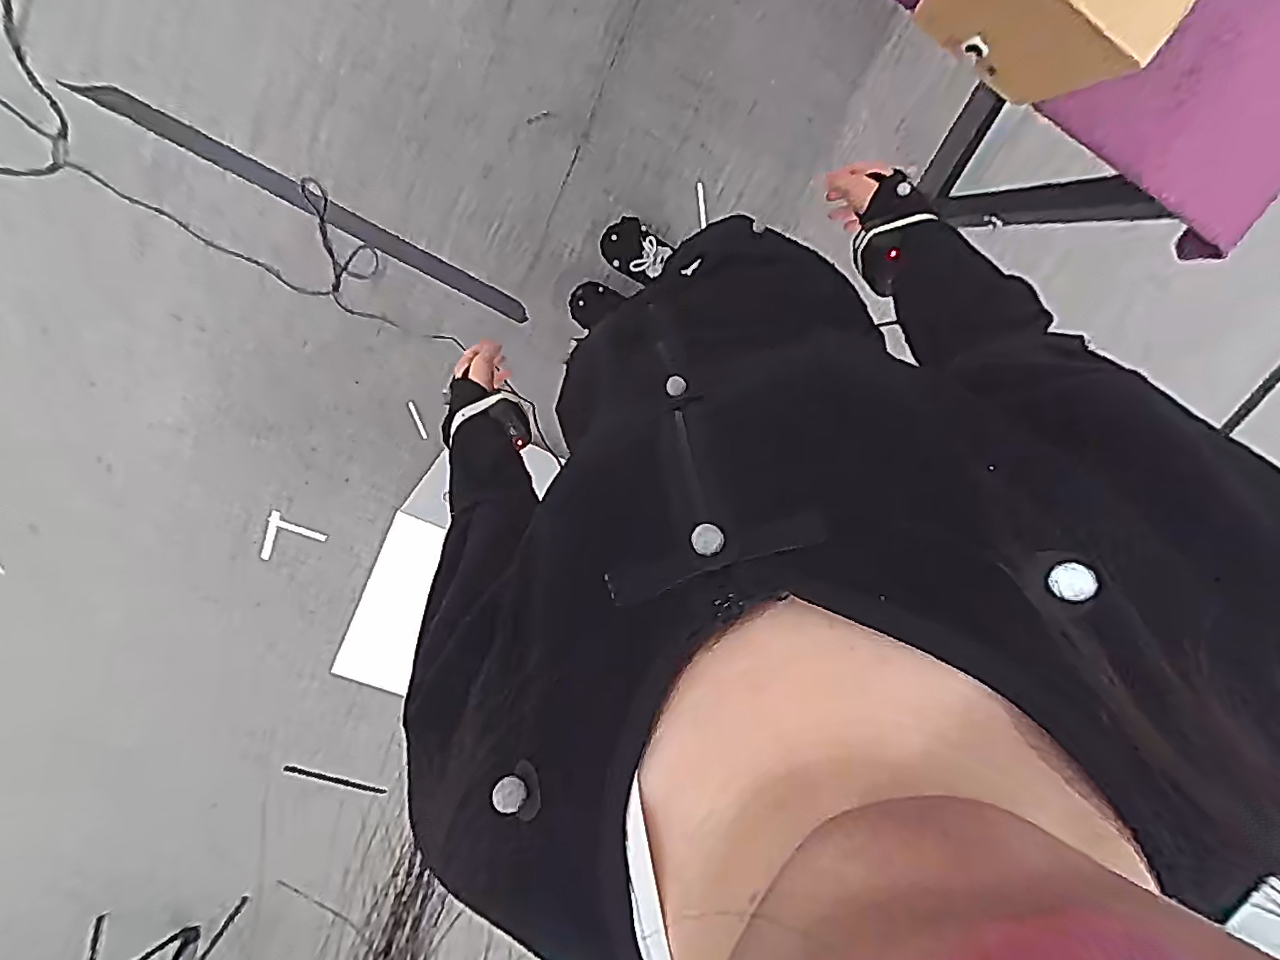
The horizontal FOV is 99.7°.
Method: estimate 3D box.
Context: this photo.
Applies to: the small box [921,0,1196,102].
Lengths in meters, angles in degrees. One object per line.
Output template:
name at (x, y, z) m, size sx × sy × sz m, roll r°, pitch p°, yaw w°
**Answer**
small box at (0.402, -0.493, 0.493) m, size 0.168 × 0.176 × 0.179 m, roll 25°, pitch 111°, yaw -13°
